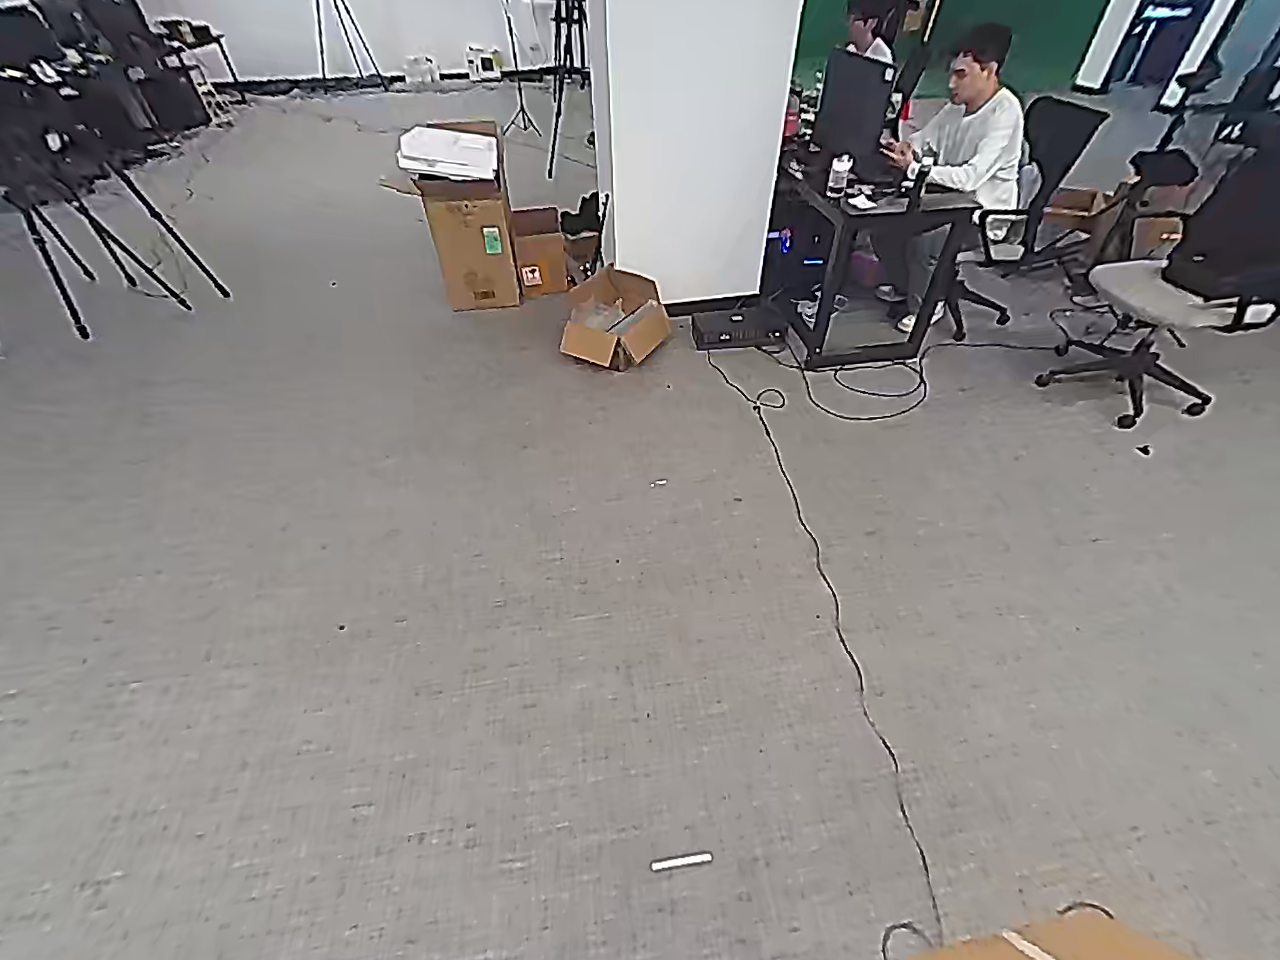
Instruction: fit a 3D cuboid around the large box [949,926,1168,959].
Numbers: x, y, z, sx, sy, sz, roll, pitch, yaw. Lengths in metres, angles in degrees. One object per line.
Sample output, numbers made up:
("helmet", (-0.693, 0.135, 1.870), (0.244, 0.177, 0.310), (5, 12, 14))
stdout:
("large box", (0.573, 0.753, 0.545), (0.320, 0.408, 0.320), (-7, 74, -8))
